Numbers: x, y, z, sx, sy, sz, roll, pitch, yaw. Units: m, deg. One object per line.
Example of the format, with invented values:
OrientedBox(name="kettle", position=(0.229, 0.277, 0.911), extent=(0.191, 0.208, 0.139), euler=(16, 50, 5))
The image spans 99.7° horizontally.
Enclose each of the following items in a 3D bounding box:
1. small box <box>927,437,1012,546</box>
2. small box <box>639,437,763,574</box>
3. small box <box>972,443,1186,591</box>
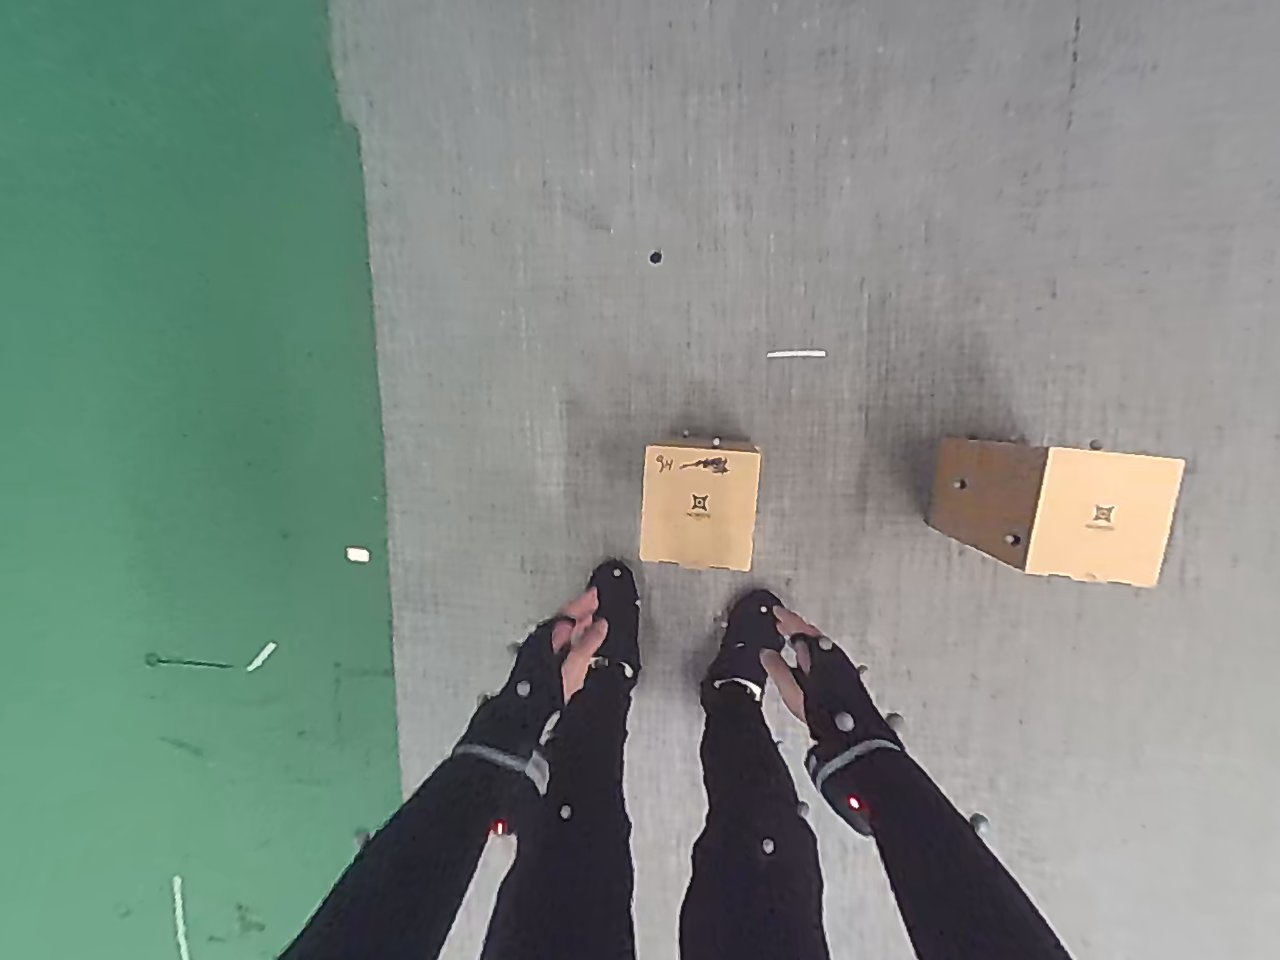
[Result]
OrientedBox(name="small box", position=(0.630, 0.025, 0.944), extent=(0.168, 0.176, 0.179), euler=(13, 99, 8))
OrientedBox(name="small box", position=(0.096, 0.031, 0.853), extent=(0.168, 0.176, 0.179), euler=(5, 99, 7))
OrientedBox(name="small box", position=(0.616, 0.042, 0.785), extent=(0.168, 0.176, 0.179), euler=(7, 98, 6))
